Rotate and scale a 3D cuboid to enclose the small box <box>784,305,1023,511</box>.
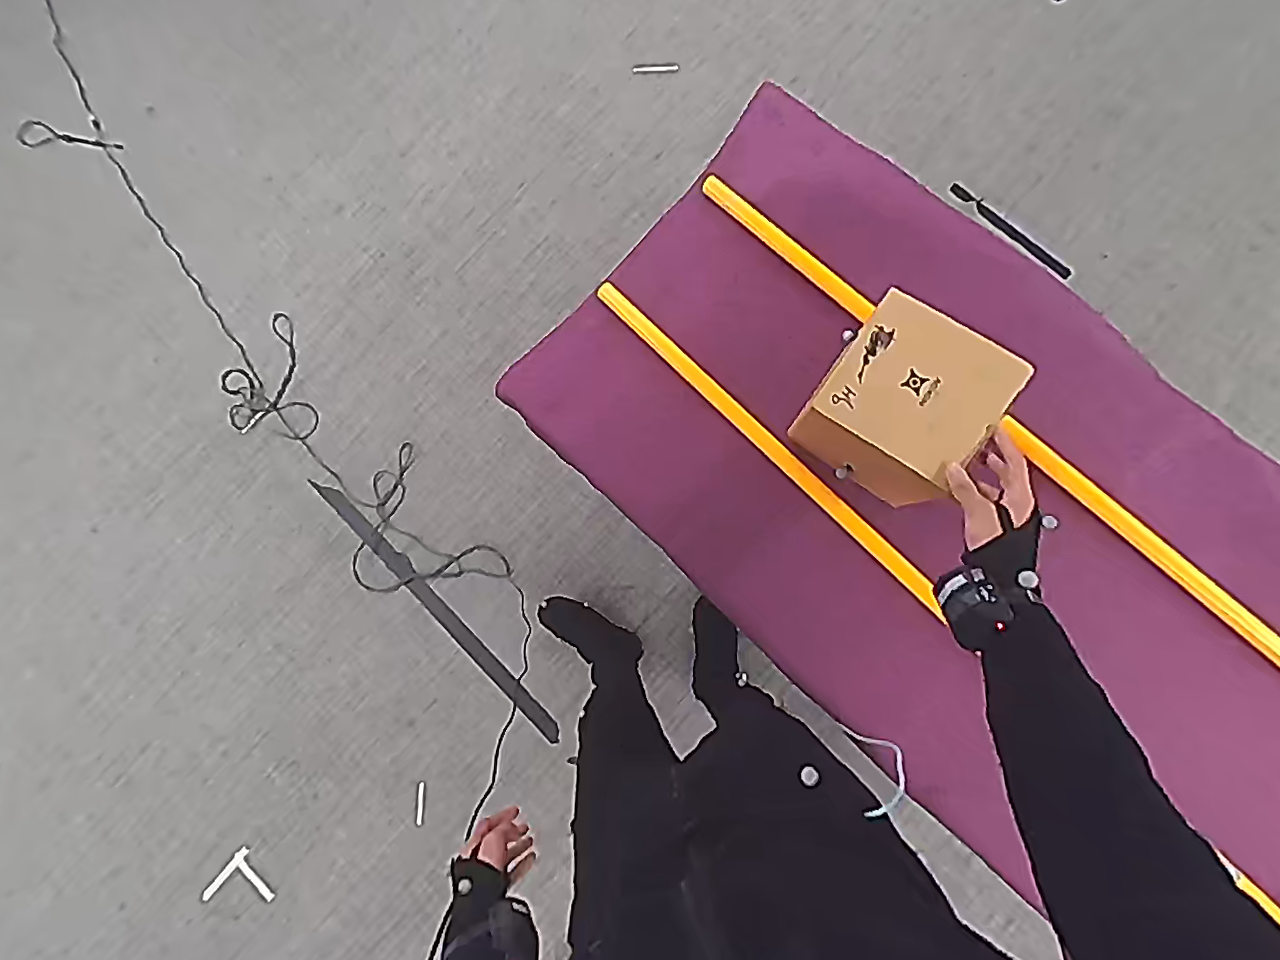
[{"bbox_3d":[0.305,-0.076,0.669,0.179,0.176,0.168,35,88,8],"label":"small box"}]
